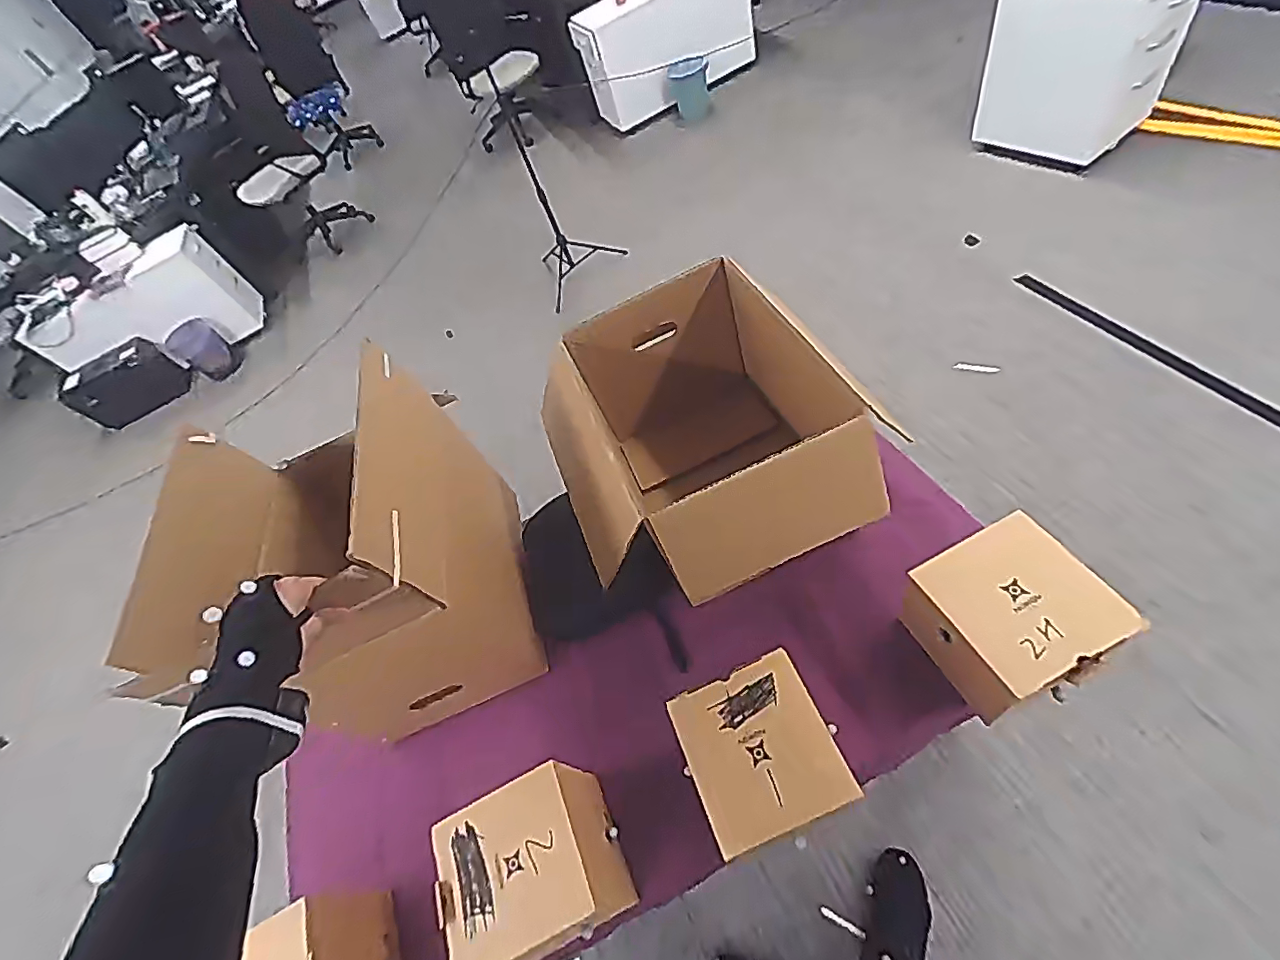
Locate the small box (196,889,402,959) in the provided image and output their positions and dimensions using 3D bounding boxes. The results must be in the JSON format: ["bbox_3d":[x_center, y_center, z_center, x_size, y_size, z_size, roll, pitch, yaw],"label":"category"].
[{"bbox_3d":[-0.430,0.657,0.687,0.179,0.176,0.168,-30,52,-3],"label":"small box"}]

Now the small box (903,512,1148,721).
[{"bbox_3d":[0.464,0.179,0.691,0.168,0.176,0.179,-30,53,0],"label":"small box"}]
